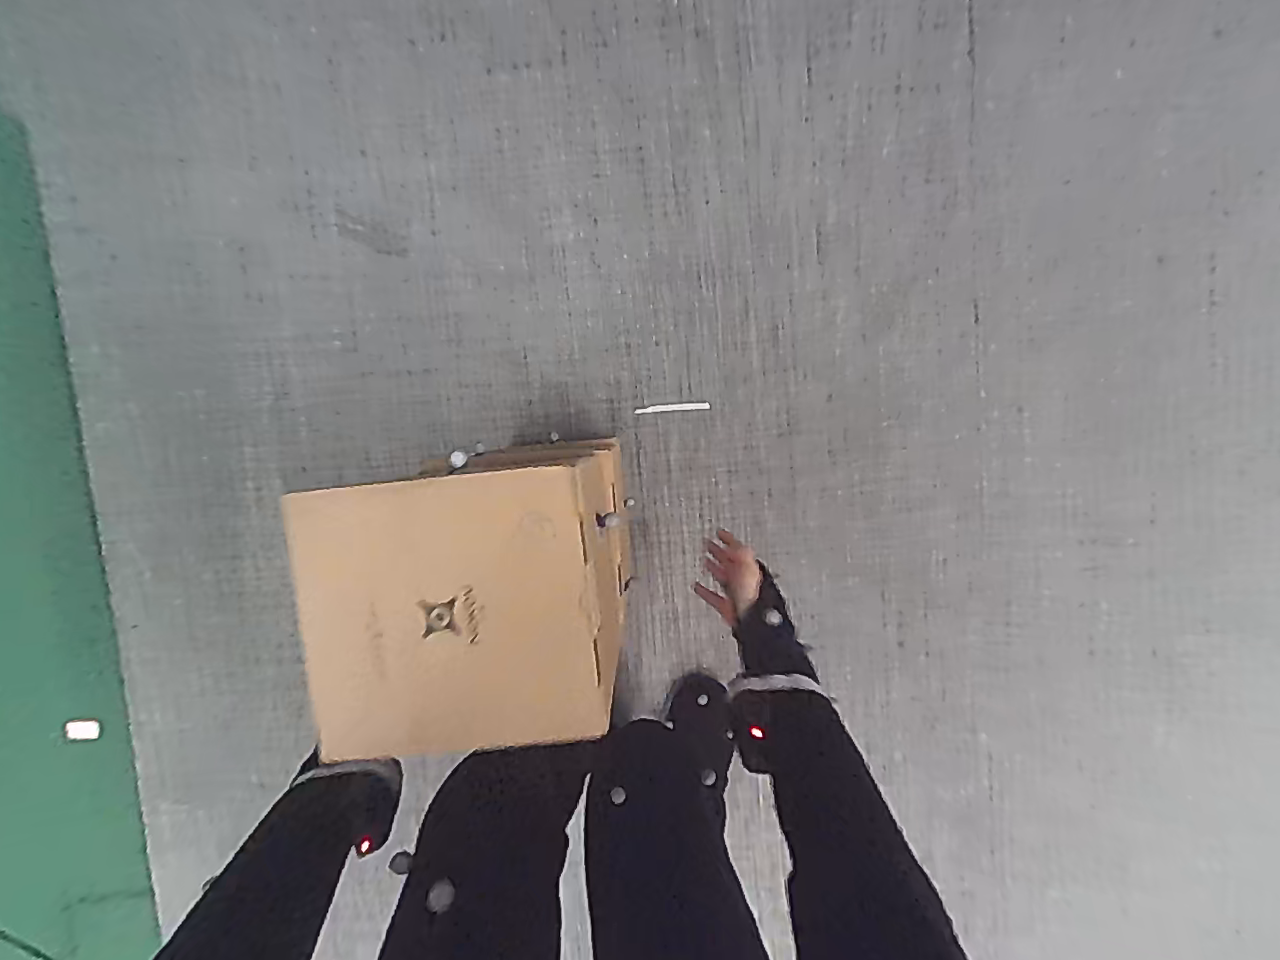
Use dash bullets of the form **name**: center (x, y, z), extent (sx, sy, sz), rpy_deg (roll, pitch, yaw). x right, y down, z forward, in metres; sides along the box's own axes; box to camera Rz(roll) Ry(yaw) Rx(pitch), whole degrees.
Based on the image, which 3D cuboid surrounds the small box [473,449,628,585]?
- **small box**: center (-0.108, 0.046, 0.730), extent (0.179, 0.176, 0.168), rpy_deg (-5, 93, 1)

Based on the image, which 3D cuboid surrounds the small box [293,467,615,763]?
- **small box**: center (-0.112, 0.080, 0.403), extent (0.179, 0.176, 0.168), rpy_deg (-5, 93, 2)
